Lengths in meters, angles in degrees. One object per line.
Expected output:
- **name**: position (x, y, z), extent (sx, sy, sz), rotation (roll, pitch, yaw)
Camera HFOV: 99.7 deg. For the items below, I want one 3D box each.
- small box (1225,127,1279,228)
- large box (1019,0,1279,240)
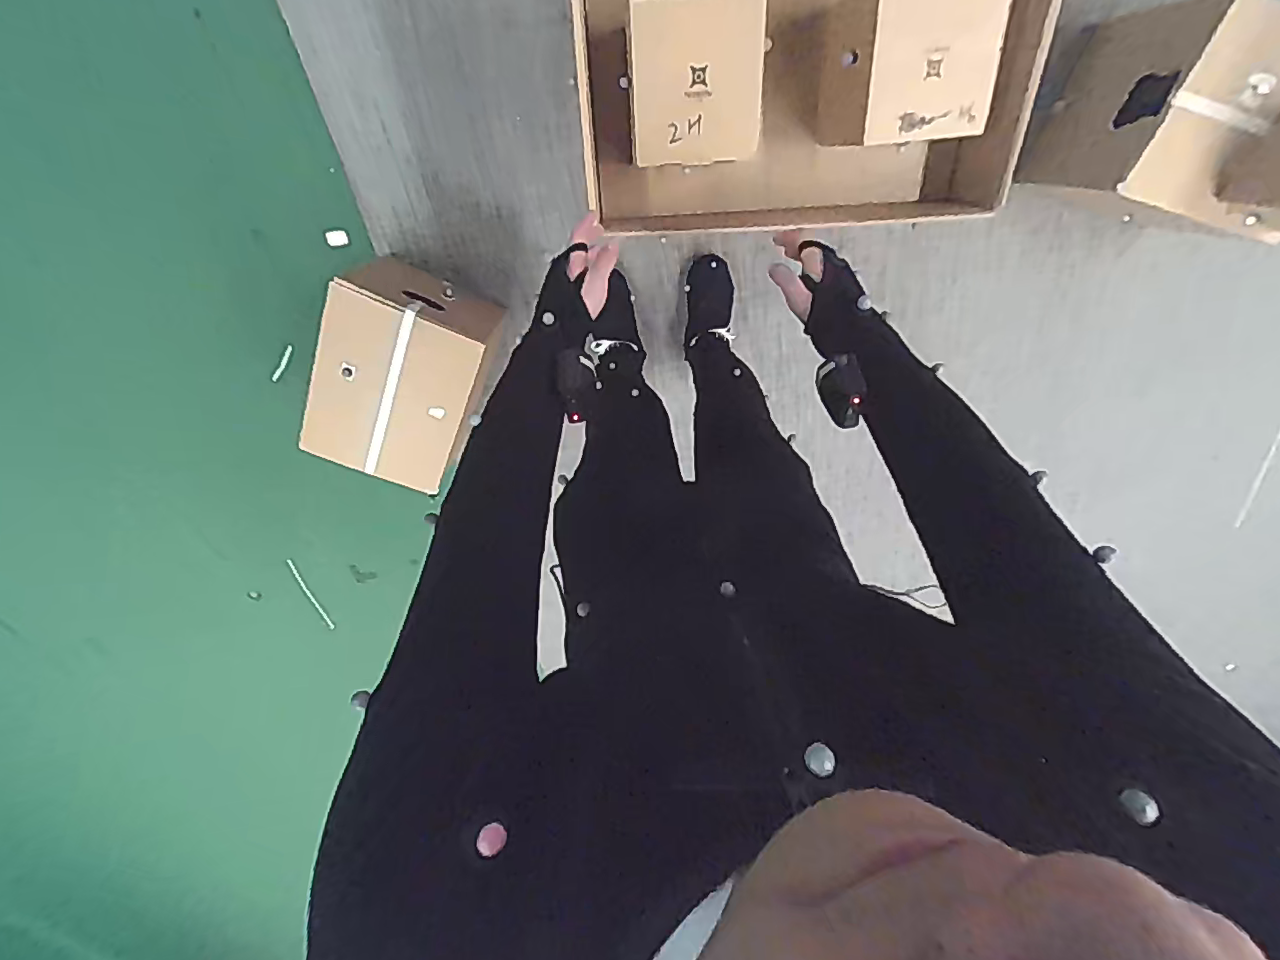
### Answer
- **small box**: position (1.216, -0.544, 0.941), extent (0.168, 0.176, 0.179), rotation (16, 121, -12)
- **large box**: position (1.128, -0.722, 1.113), extent (0.408, 0.320, 0.320), rotation (11, 120, -9)
